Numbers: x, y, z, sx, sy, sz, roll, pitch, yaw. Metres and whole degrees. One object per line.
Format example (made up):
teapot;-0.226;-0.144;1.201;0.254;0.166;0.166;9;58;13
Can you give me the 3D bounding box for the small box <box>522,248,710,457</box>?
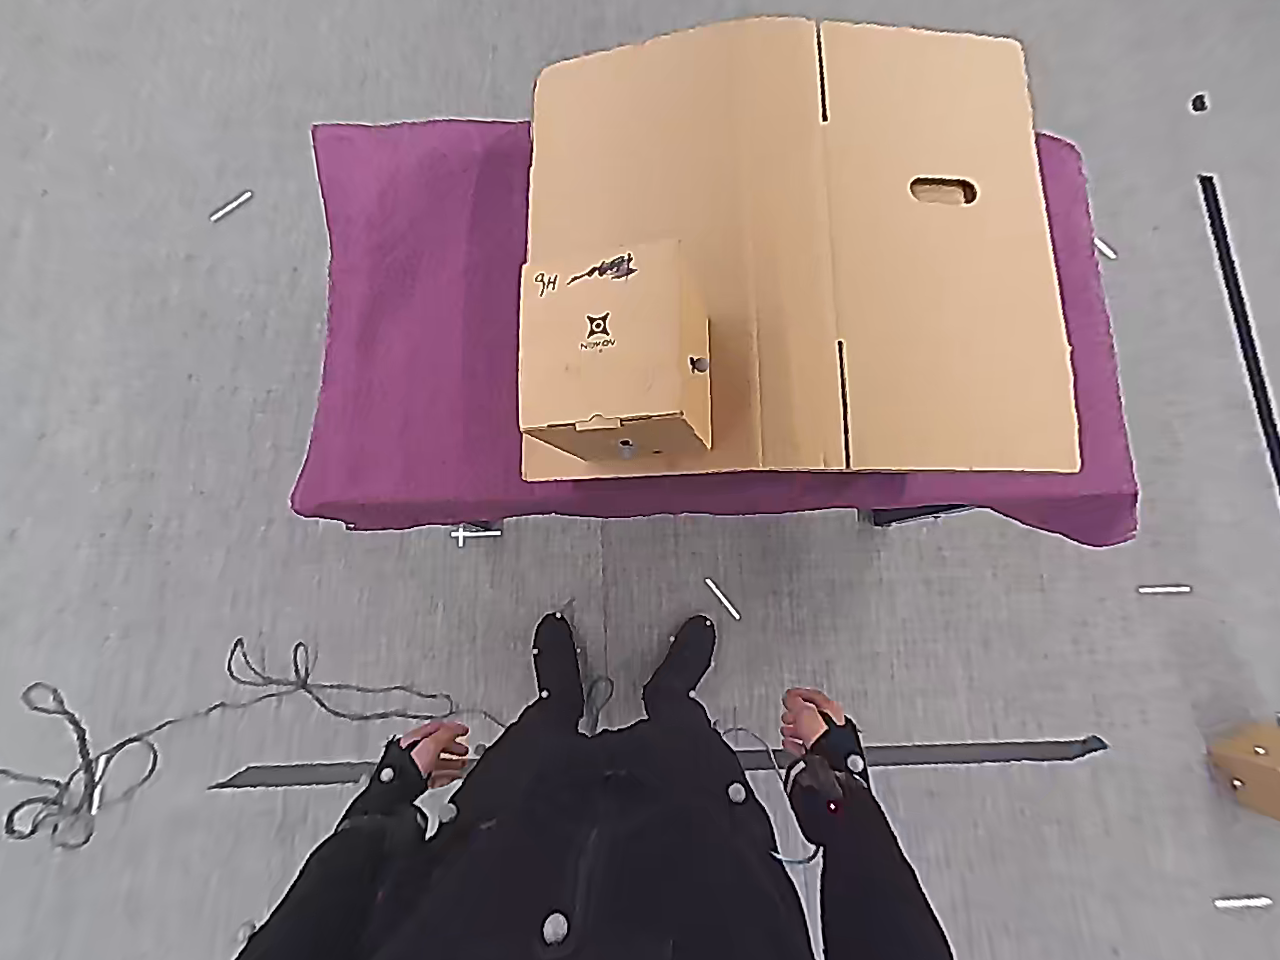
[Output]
small box;-0.016;-0.122;0.598;0.168;0.176;0.179;-3;81;16
